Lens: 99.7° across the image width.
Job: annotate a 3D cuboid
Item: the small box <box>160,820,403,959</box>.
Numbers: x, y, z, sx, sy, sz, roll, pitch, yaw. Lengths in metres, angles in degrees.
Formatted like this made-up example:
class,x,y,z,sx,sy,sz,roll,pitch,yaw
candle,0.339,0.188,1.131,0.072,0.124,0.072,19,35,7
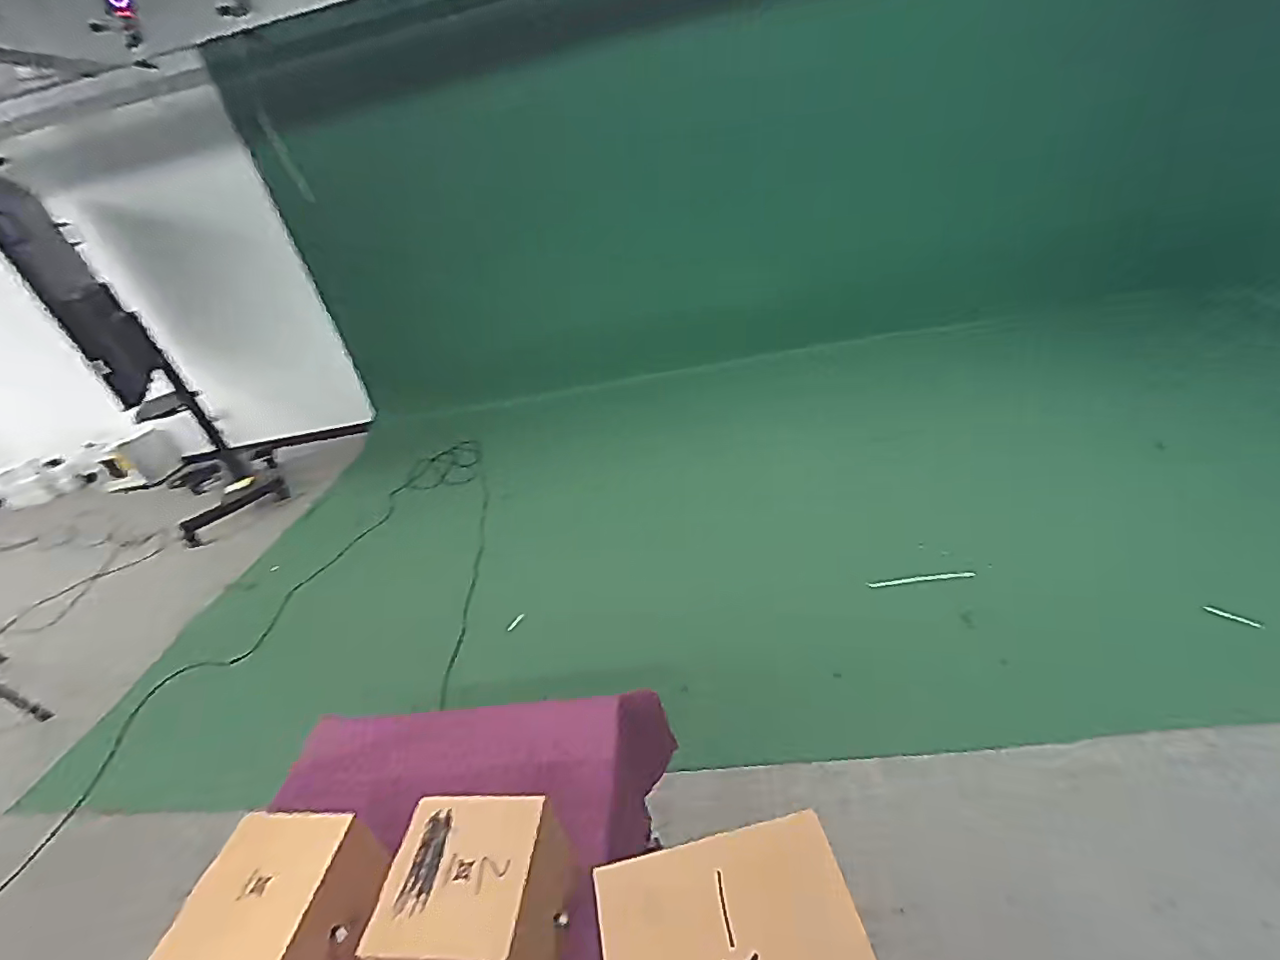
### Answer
class,x,y,z,sx,sy,sz,roll,pitch,yaw
small box,-0.447,0.571,0.705,0.179,0.176,0.168,-8,32,11

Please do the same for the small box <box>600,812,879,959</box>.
class,x,y,z,sx,sy,sz,roll,pitch,yaw
small box,0.076,0.368,0.370,0.168,0.176,0.179,-12,40,-4
